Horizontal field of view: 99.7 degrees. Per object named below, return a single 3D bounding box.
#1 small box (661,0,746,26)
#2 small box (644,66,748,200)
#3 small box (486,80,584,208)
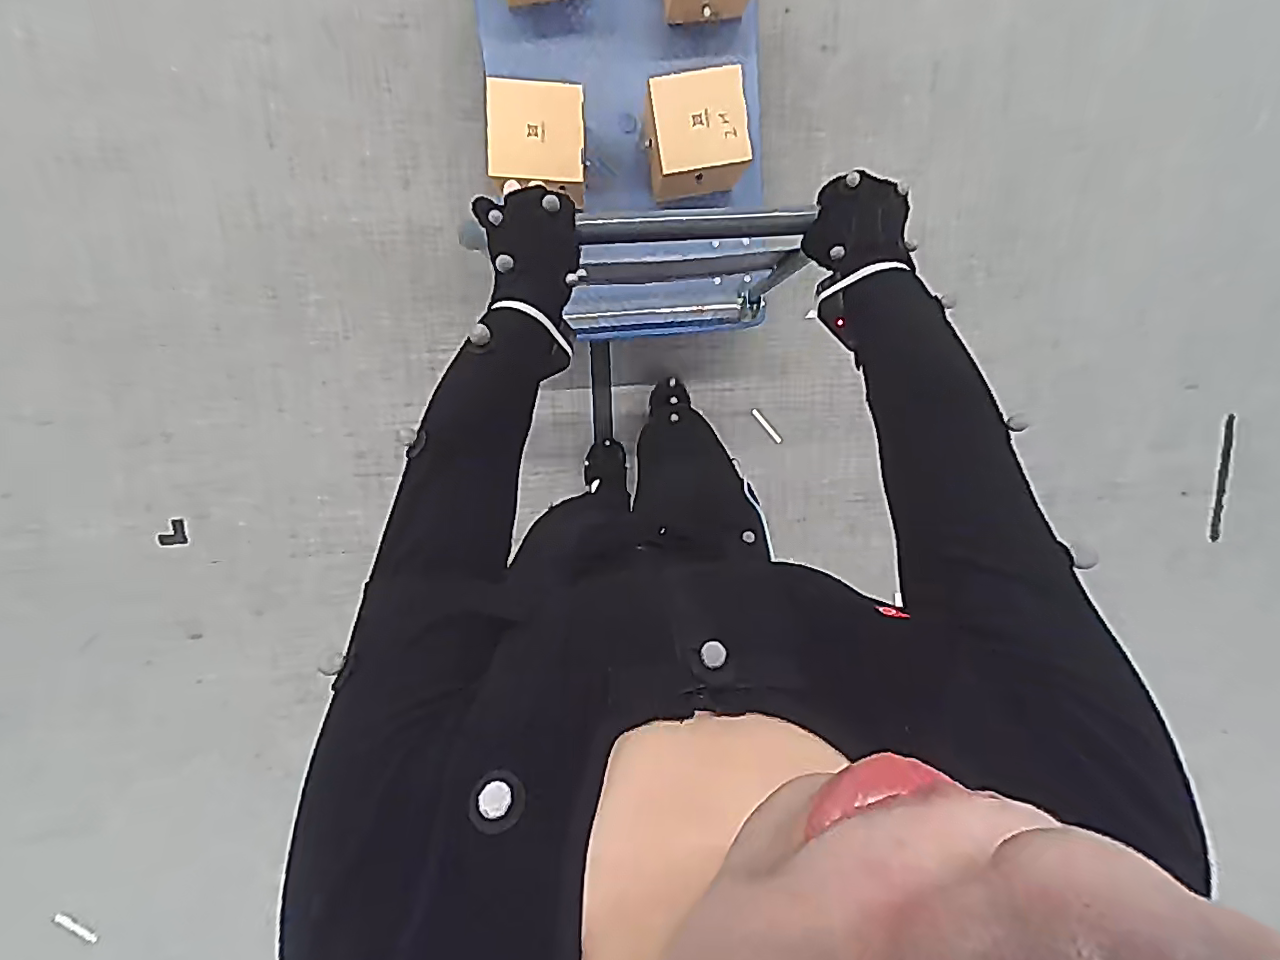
[{"bbox_3d":[0.124,-1.018,1.027,0.168,0.176,0.179,-8,102,-3],"label":"small box"},{"bbox_3d":[0.104,-0.686,1.089,0.179,0.176,0.168,-10,102,-2],"label":"small box"},{"bbox_3d":[-0.201,-0.655,1.073,0.179,0.176,0.168,0,101,-6],"label":"small box"}]
